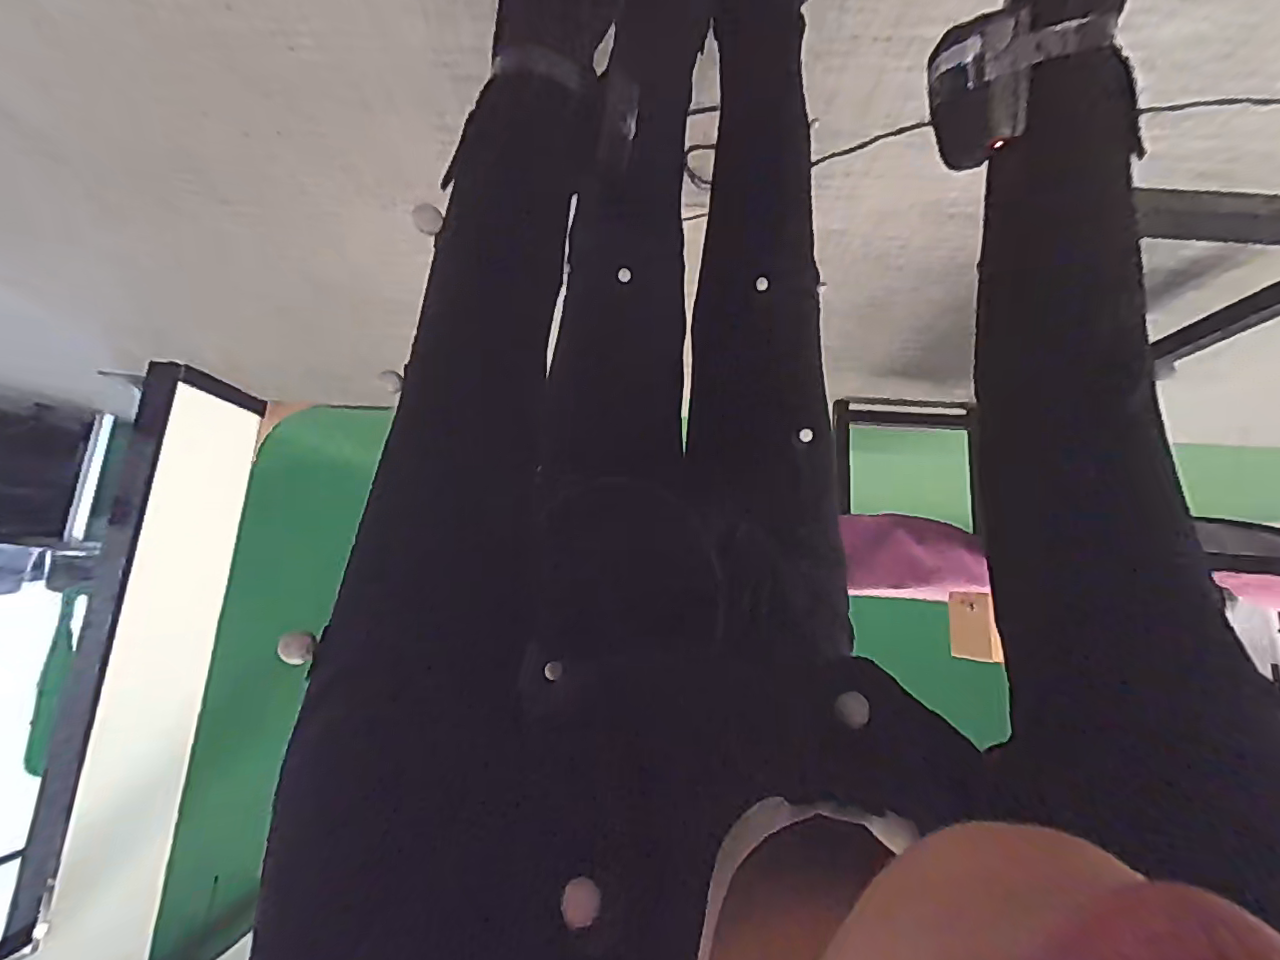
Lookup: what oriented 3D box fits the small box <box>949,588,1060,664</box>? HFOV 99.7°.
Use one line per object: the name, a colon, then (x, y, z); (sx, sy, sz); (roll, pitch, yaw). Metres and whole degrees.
small box: (0.926, 0.368, 1.386); (0.179, 0.176, 0.168); (5, 167, -2)
